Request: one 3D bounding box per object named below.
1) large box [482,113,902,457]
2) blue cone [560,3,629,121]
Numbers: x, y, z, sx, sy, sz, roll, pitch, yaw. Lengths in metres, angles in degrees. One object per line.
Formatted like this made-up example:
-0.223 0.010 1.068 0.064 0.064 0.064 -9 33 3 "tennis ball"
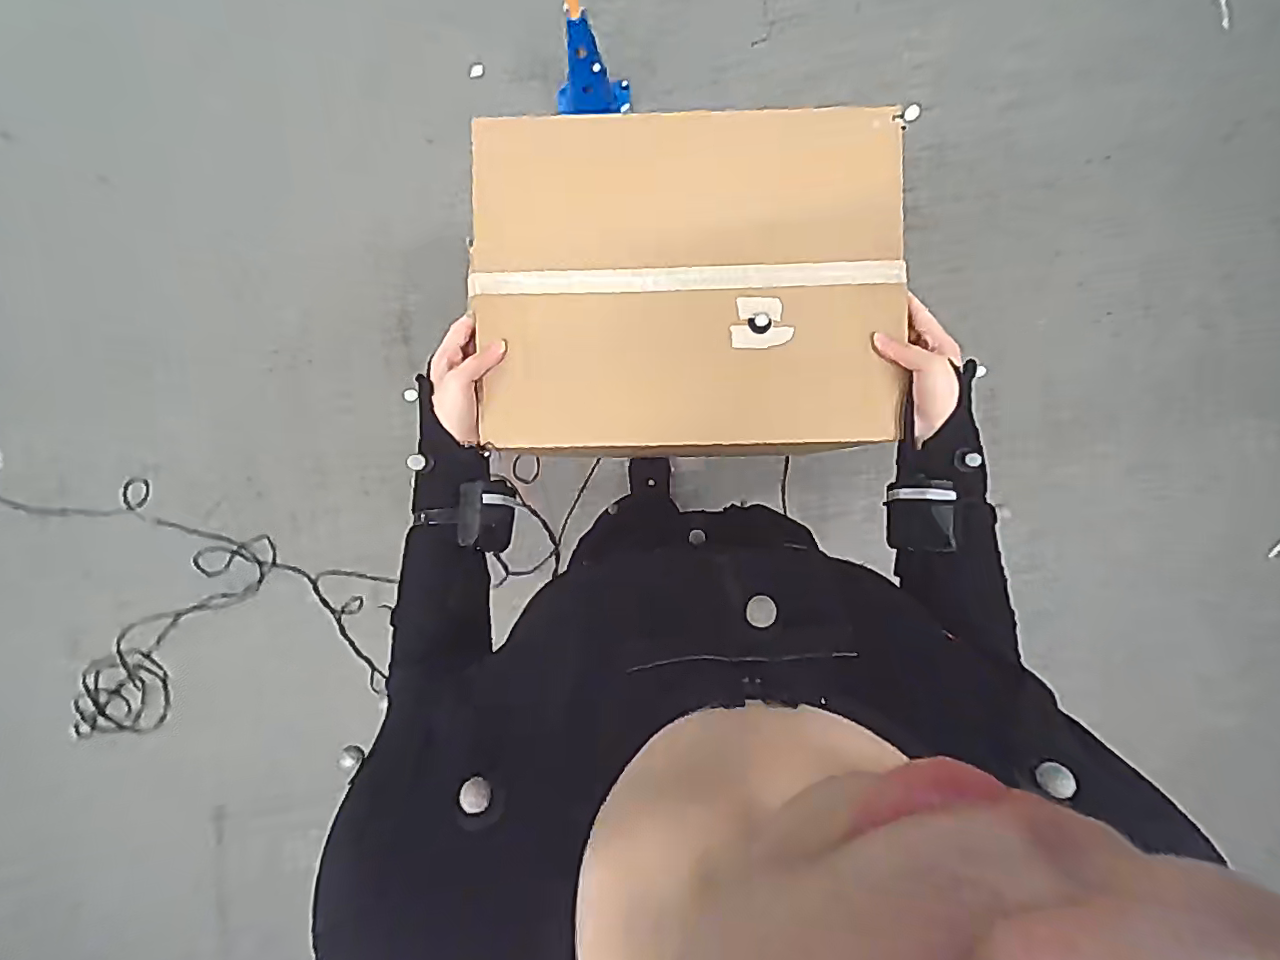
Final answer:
0.048 -0.194 0.666 0.408 0.320 0.320 -1 91 0 "large box"
-0.131 -0.979 1.324 0.193 0.380 0.192 -1 90 2 "blue cone"
